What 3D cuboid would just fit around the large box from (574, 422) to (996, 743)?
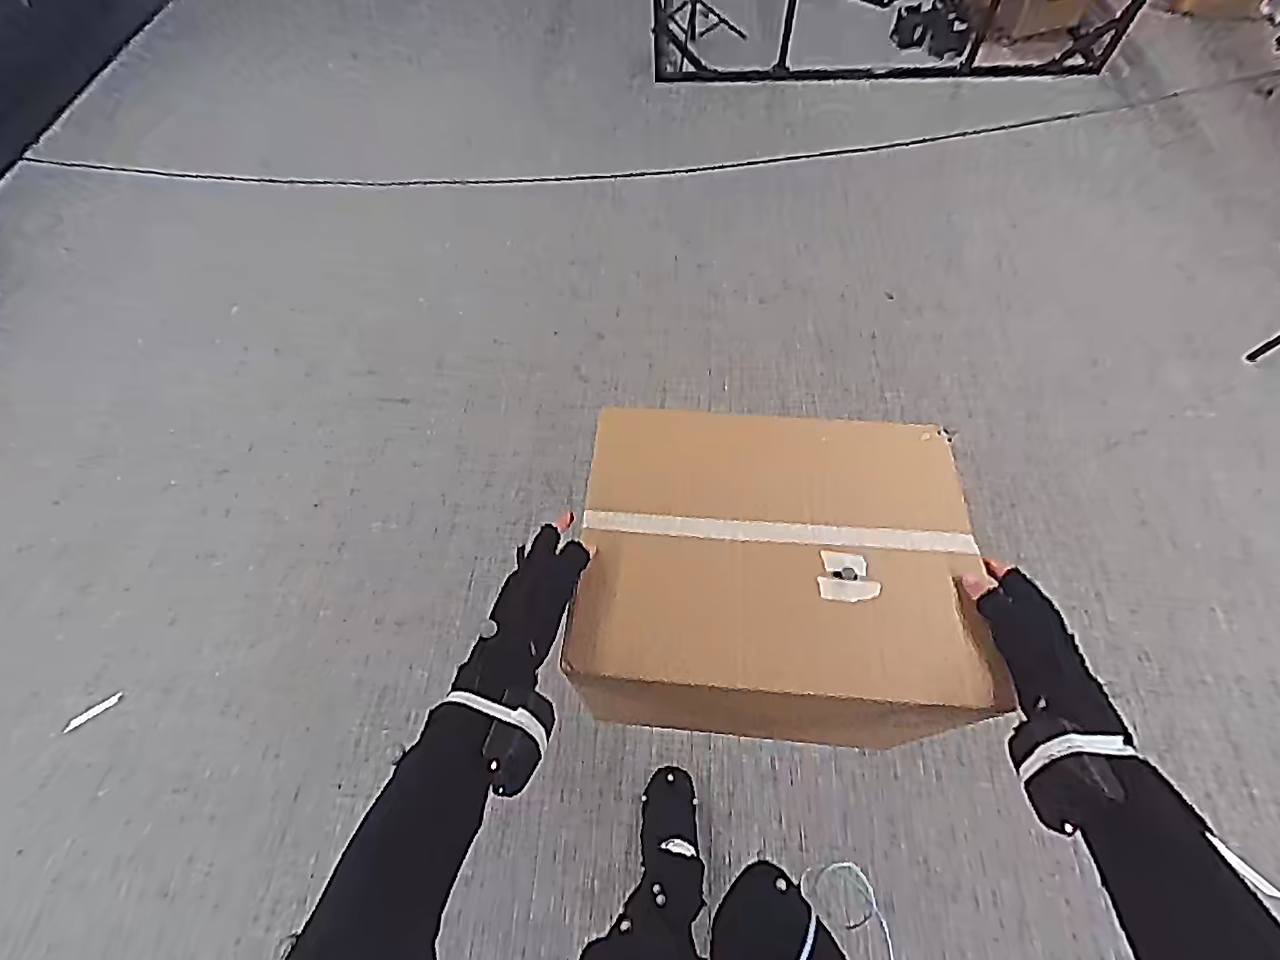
[{"bbox_3d":[0.144,0.146,0.710,0.408,0.320,0.320,4,59,3],"label":"large box"}]
